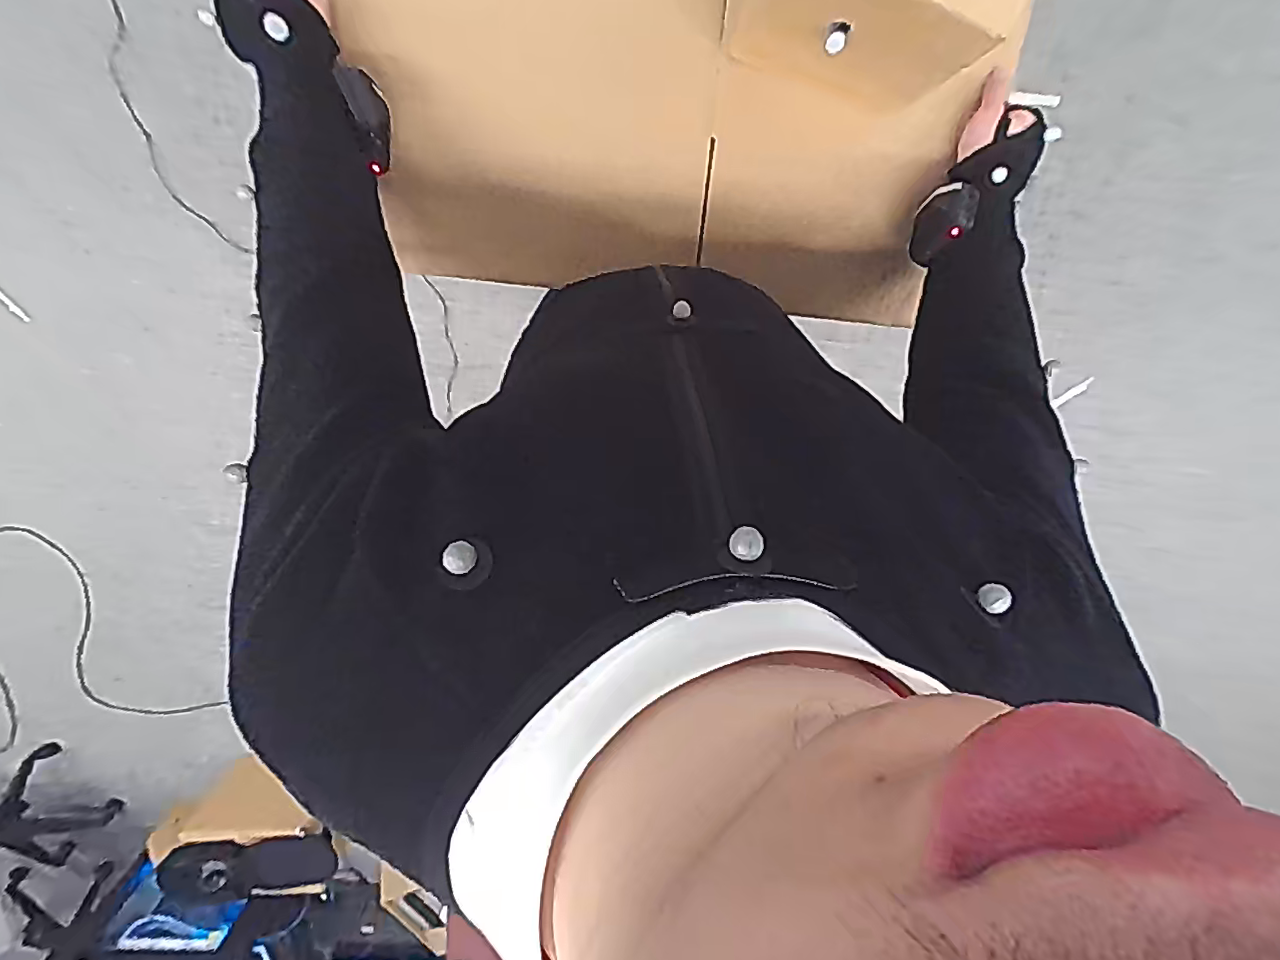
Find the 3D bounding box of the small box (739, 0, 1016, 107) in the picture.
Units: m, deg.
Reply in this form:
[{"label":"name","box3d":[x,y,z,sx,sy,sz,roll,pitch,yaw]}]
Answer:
[{"label":"small box","box3d":[0.198,-0.441,0.436,0.179,0.176,0.168,15,105,-9]}]
